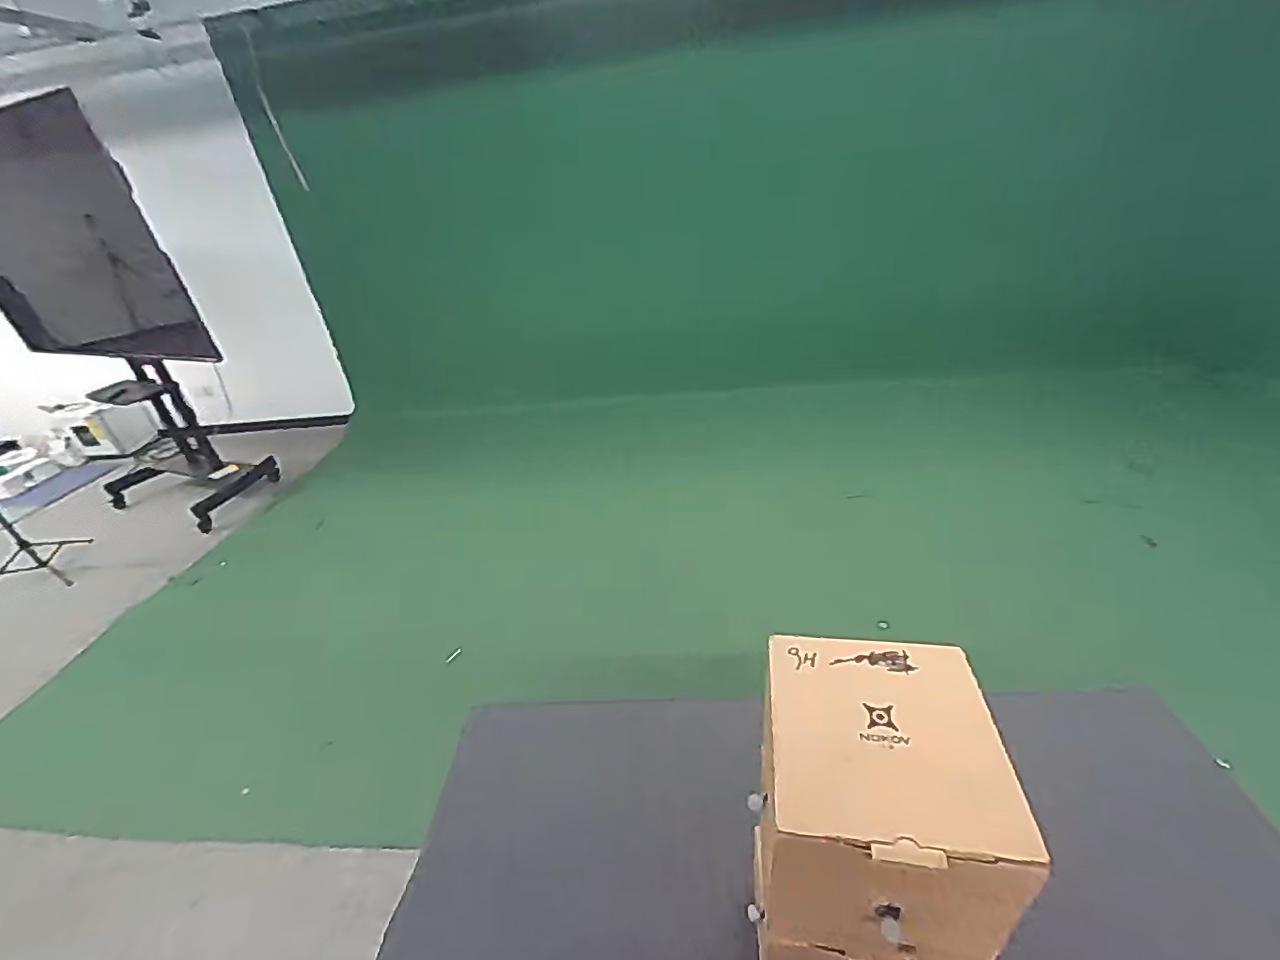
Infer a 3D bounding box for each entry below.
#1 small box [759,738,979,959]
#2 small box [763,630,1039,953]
[{"bbox_3d":[0.206,0.394,0.543,0.168,0.176,0.179,0,31,10],"label":"small box"},{"bbox_3d":[0.191,0.255,0.457,0.168,0.176,0.179,1,34,12],"label":"small box"}]
